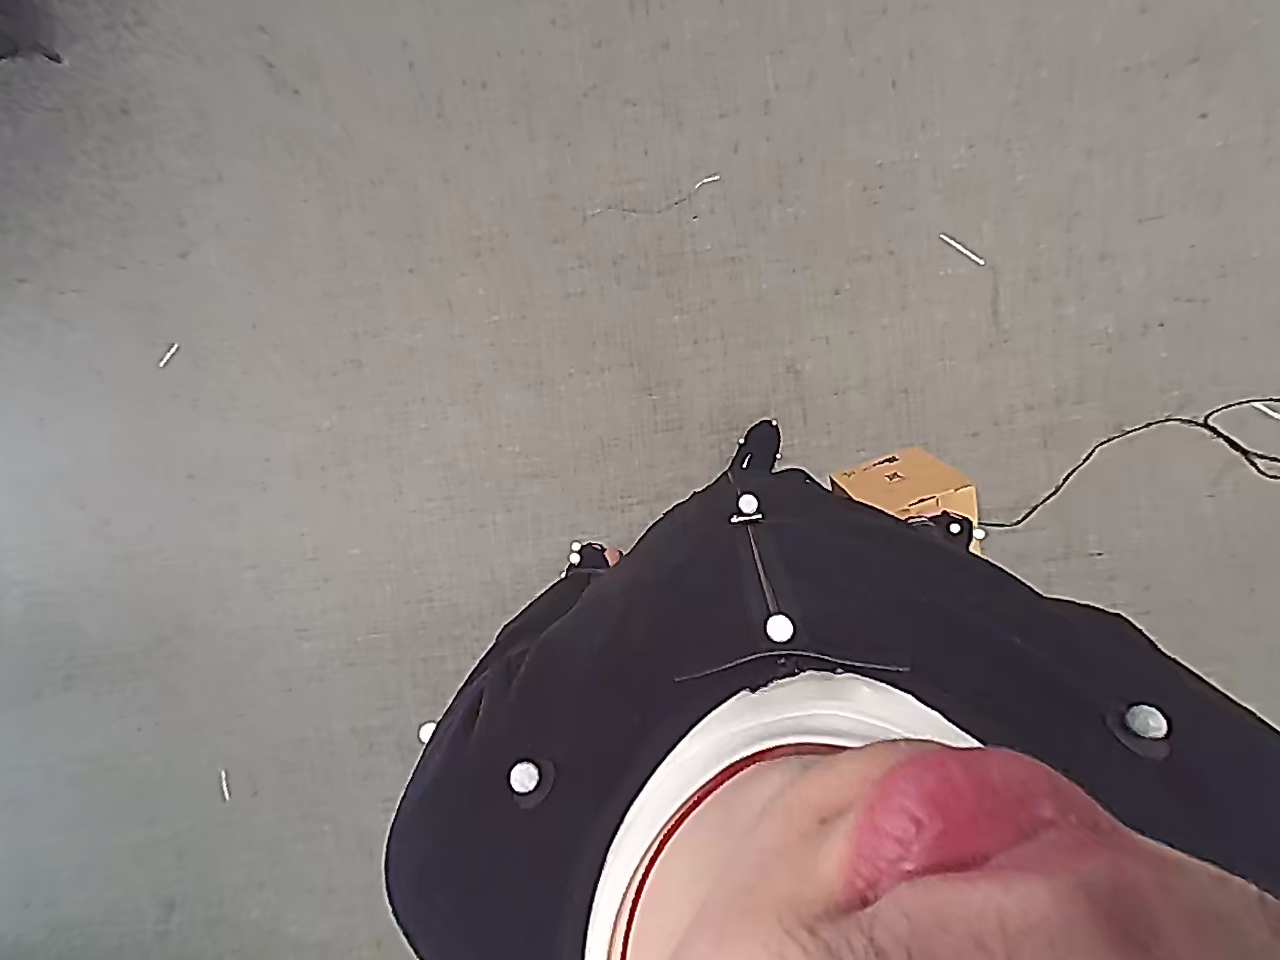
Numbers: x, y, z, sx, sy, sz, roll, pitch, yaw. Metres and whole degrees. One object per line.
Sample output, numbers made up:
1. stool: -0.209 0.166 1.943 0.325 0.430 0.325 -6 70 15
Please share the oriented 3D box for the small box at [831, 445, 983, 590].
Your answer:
1. small box: 0.459 0.068 0.936 0.168 0.179 0.176 -21 114 3
